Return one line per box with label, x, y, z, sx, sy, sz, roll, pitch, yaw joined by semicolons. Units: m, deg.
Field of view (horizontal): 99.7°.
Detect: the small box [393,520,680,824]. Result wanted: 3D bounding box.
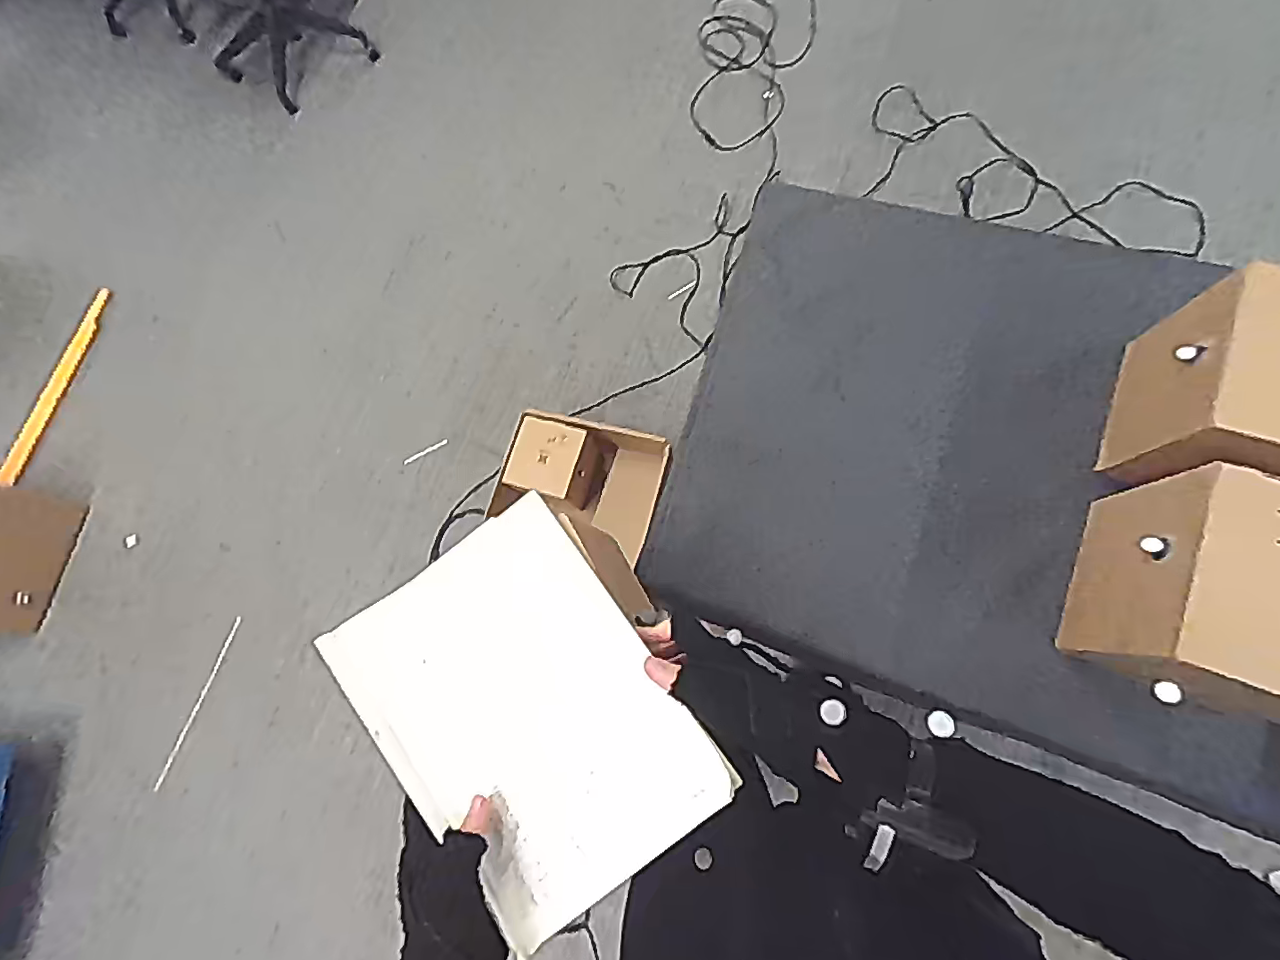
small box;-0.078;0.158;0.493;0.168;0.176;0.179;-33;74;2
